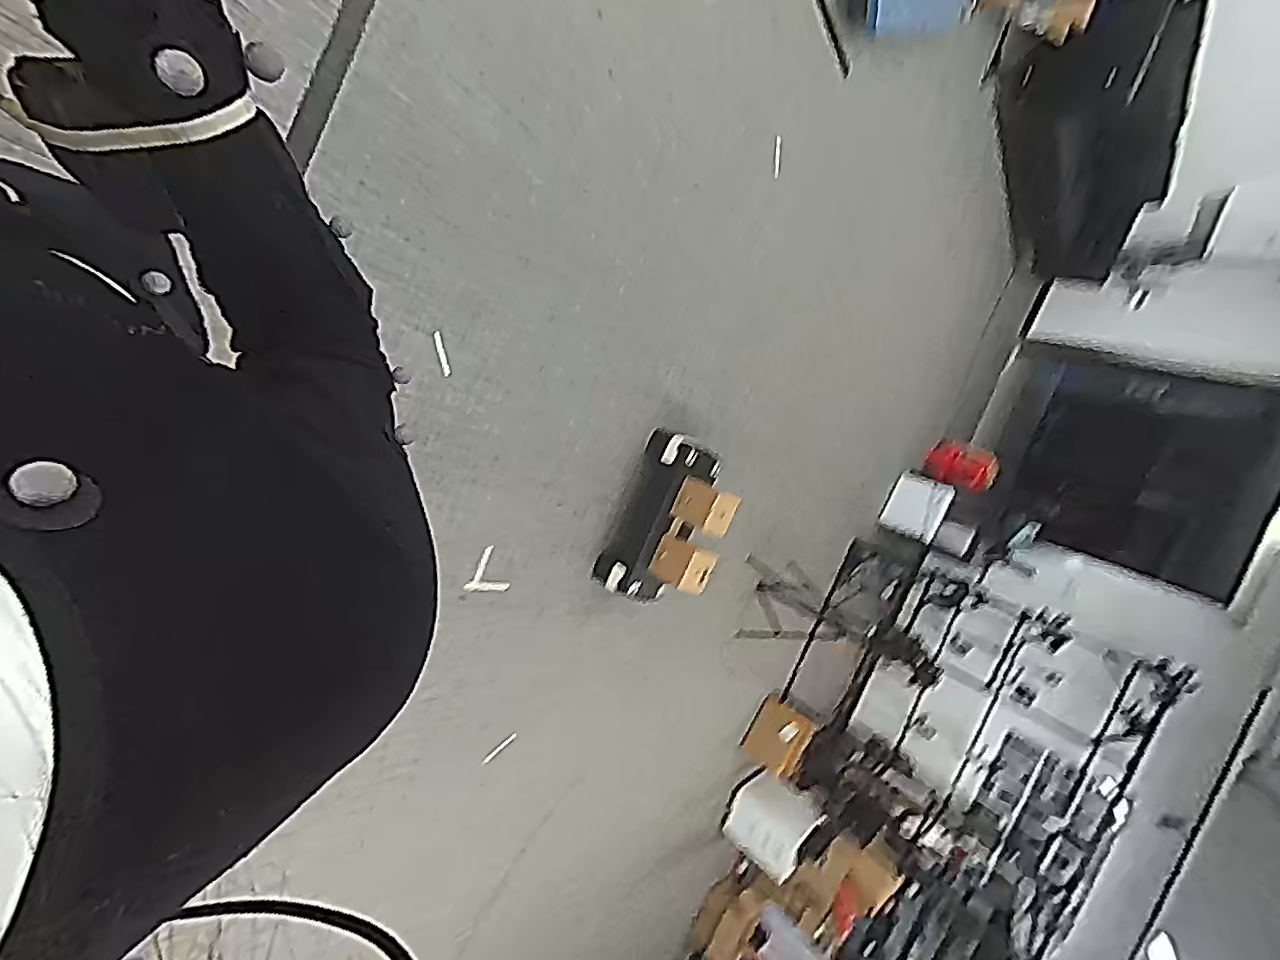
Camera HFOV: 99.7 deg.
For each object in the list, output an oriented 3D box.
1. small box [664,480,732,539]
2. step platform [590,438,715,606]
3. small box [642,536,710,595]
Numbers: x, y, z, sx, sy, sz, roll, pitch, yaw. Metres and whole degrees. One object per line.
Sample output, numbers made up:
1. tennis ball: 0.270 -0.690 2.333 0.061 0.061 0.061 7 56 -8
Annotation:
1. small box: 0.228 0.115 2.124 0.179 0.176 0.168 23 91 -51
2. step platform: 0.061 0.184 2.252 0.286 0.204 0.684 21 93 -52
3. small box: 0.140 0.338 2.145 0.179 0.176 0.168 25 90 -50
